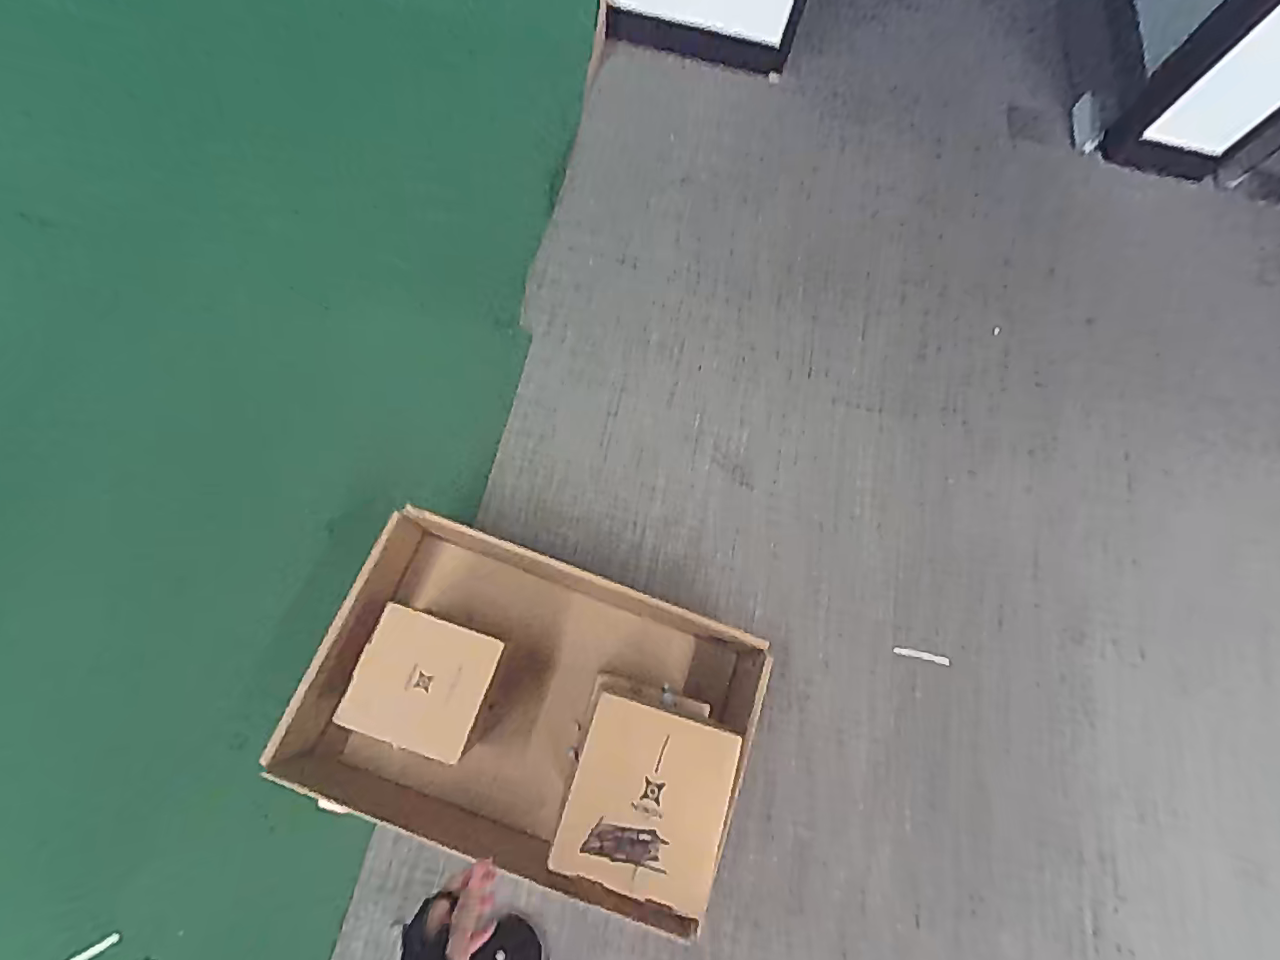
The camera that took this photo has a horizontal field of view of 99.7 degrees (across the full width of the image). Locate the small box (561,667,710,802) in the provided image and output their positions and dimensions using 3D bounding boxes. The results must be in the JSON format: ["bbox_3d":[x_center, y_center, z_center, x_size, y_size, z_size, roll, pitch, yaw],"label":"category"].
[{"bbox_3d":[-0.006,0.391,0.805,0.168,0.176,0.179,16,73,1],"label":"small box"}]

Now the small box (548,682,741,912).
[{"bbox_3d":[0.004,0.355,0.645,0.168,0.176,0.179,18,71,1],"label":"small box"}]
